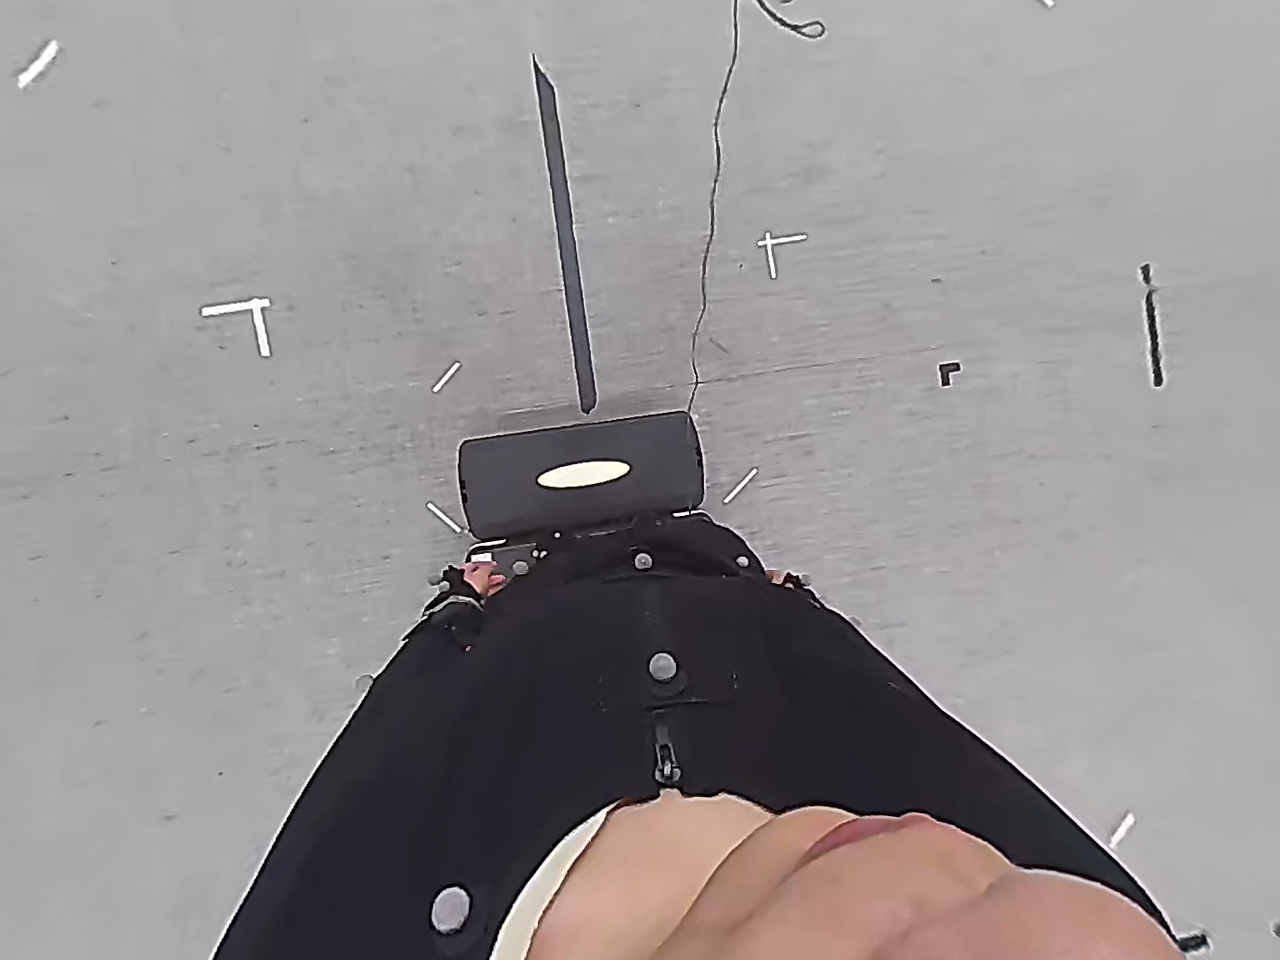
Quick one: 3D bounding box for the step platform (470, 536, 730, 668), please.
[{"bbox_3d":[-0.102,0.321,1.463,0.684,0.204,0.286,-4,88,-4],"label":"step platform"}]
